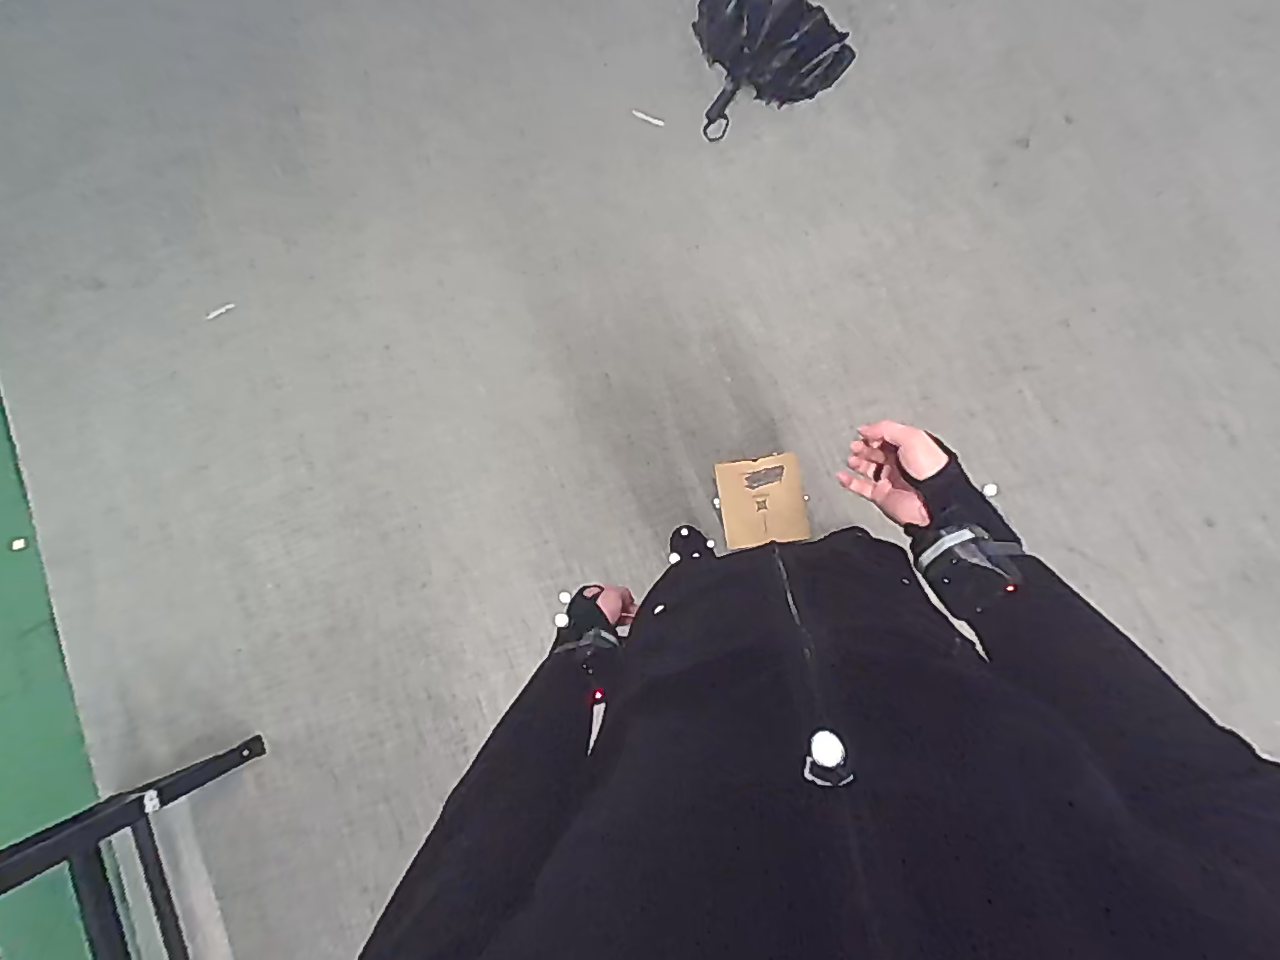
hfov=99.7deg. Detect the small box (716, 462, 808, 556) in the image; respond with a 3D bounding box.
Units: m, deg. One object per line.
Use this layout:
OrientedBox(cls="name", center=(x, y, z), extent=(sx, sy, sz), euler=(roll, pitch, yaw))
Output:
OrientedBox(cls="small box", center=(0.255, 0.063, 1.160), extent=(0.168, 0.176, 0.179), euler=(-8, 86, 10))
